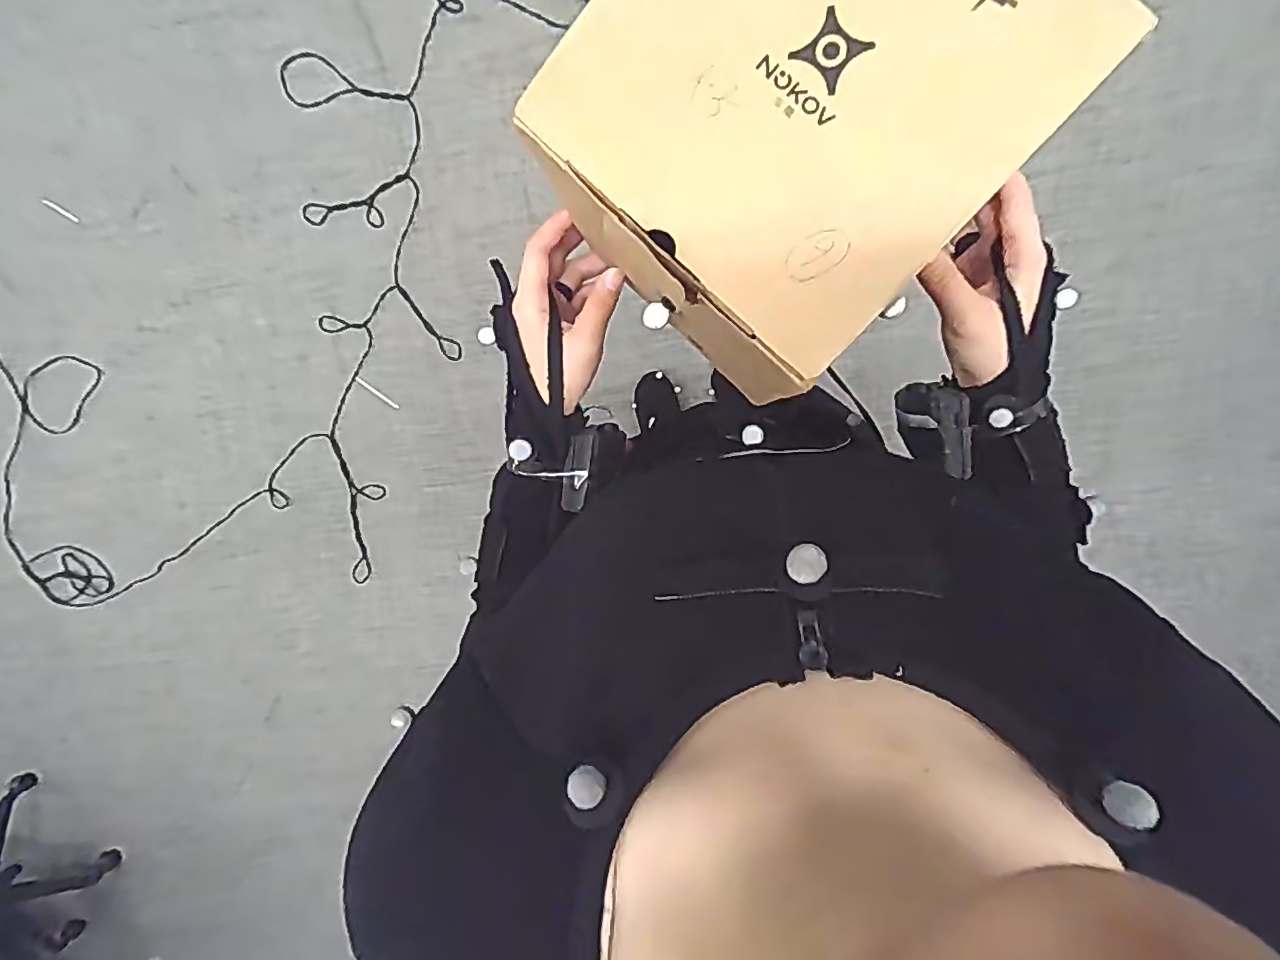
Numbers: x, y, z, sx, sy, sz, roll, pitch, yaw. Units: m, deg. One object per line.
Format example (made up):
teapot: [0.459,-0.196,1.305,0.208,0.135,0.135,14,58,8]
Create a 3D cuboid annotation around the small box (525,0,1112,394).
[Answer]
small box: [0.074,-0.163,0.298,0.168,0.176,0.179,43,98,1]
